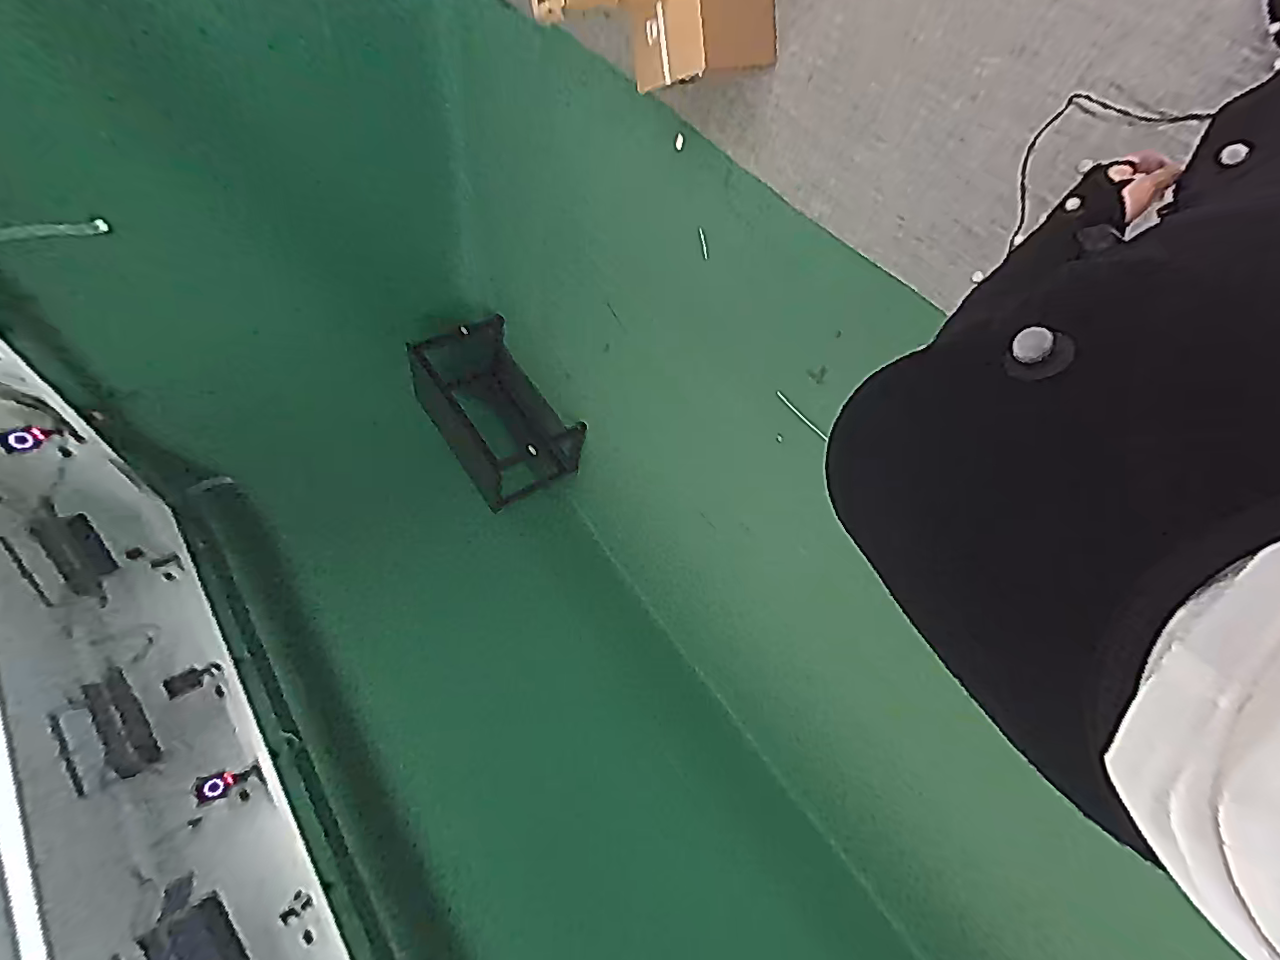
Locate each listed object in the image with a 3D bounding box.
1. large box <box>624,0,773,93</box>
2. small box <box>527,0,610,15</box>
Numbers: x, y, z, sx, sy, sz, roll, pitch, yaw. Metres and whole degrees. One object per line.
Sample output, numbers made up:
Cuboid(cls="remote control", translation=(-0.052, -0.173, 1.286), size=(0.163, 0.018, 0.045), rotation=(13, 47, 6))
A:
Cuboid(cls="large box", translation=(0.166, -1.428, 1.589), size=(0.320, 0.320, 0.408), rotation=(27, 138, 47))
Cuboid(cls="small box", translation=(-0.191, -1.328, 1.393), size=(0.168, 0.176, 0.179), rotation=(33, 140, 41))
